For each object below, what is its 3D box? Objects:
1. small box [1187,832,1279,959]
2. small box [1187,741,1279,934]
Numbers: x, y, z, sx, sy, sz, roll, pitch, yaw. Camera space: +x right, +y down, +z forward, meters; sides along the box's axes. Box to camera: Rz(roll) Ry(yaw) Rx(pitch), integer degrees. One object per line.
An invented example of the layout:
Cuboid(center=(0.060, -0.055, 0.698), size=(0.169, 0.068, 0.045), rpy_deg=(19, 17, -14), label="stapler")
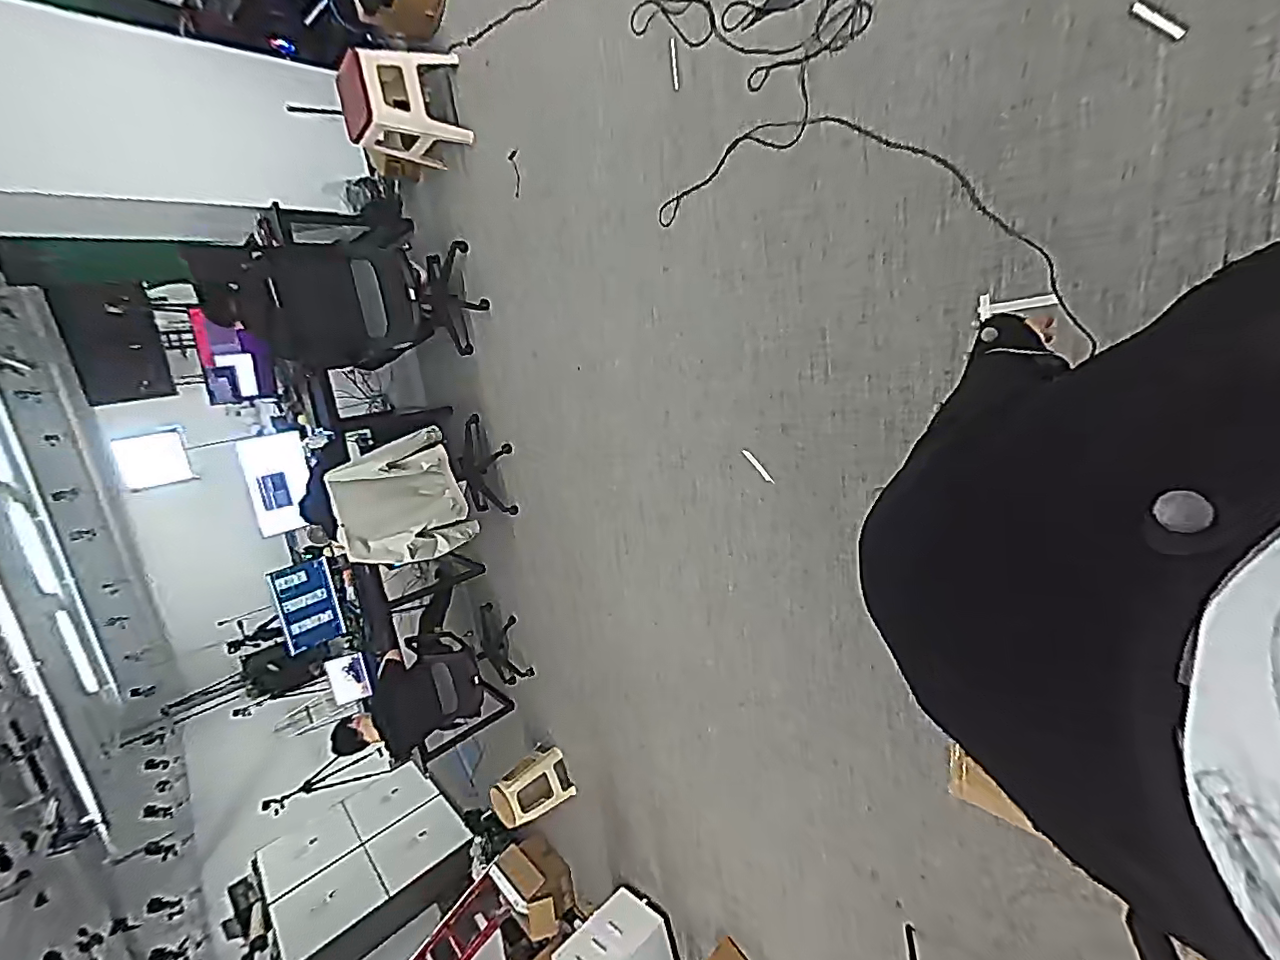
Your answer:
Cuboid(center=(0.622, 0.479, 0.495), size=(0.168, 0.176, 0.179), rpy_deg=(5, 107, 49), label="small box")
Cuboid(center=(0.741, 0.437, 0.600), size=(0.168, 0.176, 0.179), rpy_deg=(7, 109, 48), label="small box")
